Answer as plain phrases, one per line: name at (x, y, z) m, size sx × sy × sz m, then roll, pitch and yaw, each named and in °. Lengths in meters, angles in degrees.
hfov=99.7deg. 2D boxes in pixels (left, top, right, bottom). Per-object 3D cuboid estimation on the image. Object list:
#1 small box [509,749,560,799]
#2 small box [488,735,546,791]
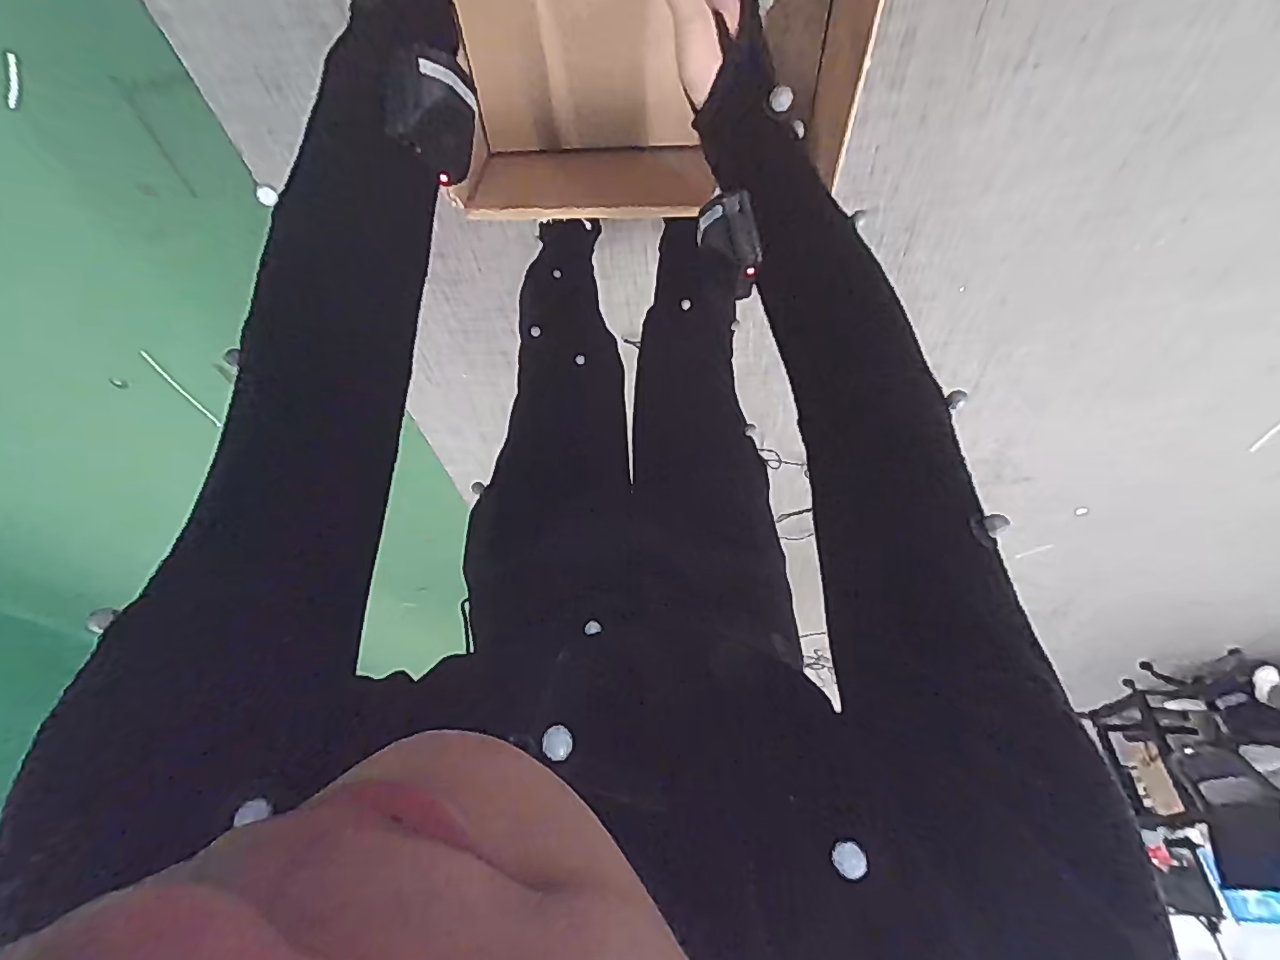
small box at (-0.435, 1.221, 2.254) m, size 0.168 × 0.176 × 0.179 m, roll 1°, pitch 144°, yaw 3°
small box at (-0.457, 1.062, 2.029) m, size 0.168 × 0.176 × 0.179 m, roll 1°, pitch 146°, yaw 3°
